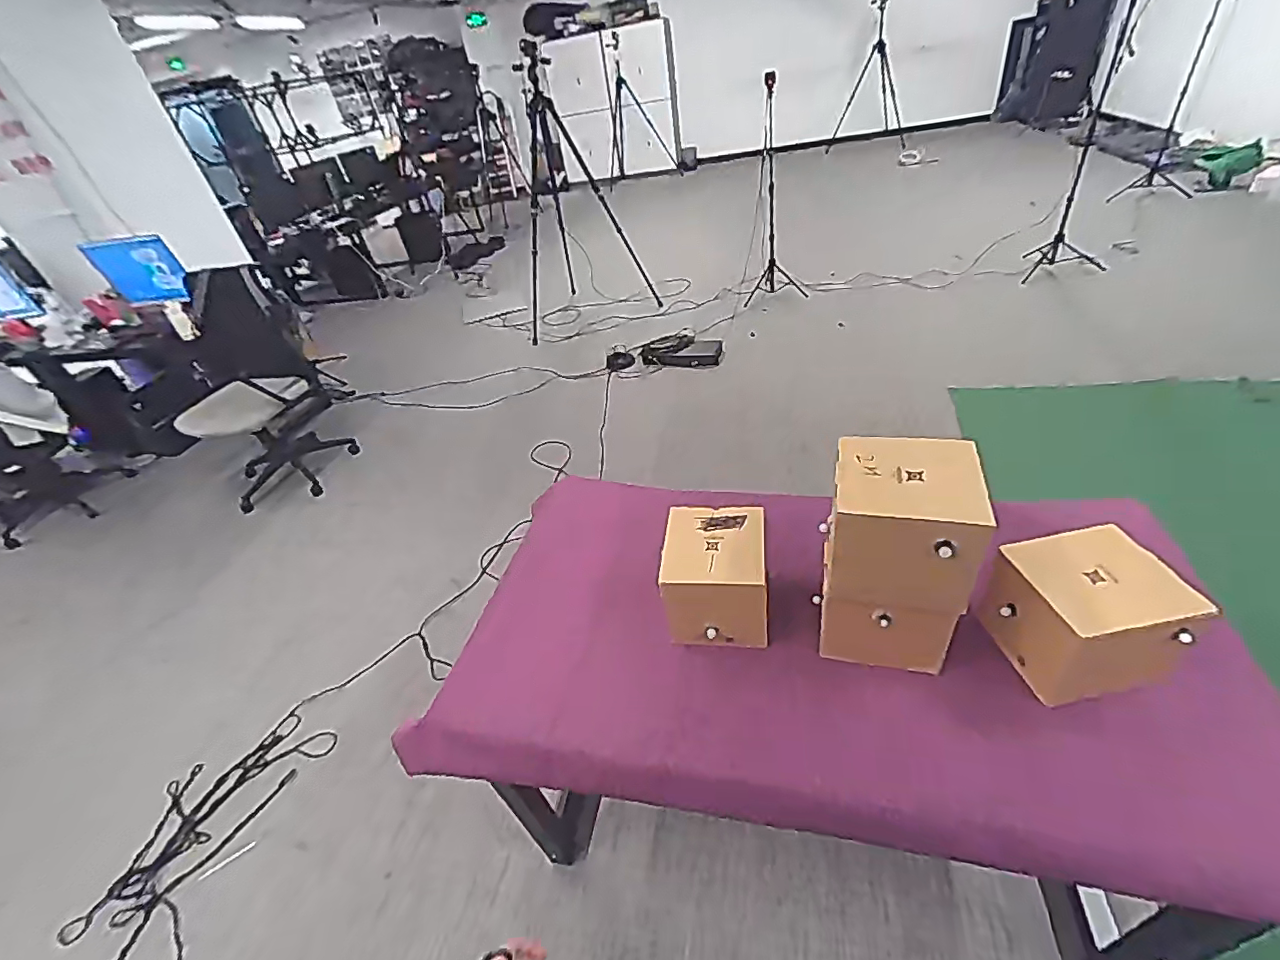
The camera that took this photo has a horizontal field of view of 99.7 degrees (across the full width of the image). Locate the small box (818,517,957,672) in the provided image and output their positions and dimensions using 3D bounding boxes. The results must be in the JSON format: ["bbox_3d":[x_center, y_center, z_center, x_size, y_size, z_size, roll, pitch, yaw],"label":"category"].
[{"bbox_3d":[0.377,0.178,0.850,0.179,0.176,0.168,4,41,19],"label":"small box"}]

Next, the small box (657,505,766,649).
[{"bbox_3d":[0.130,0.162,0.928,0.168,0.176,0.179,-1,40,13],"label":"small box"}]

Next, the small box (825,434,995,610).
[{"bbox_3d":[0.355,0.056,0.742,0.179,0.176,0.168,4,40,19],"label":"small box"}]

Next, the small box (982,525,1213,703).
[{"bbox_3d":[0.623,0.193,0.771,0.179,0.176,0.168,-11,37,0],"label":"small box"}]
